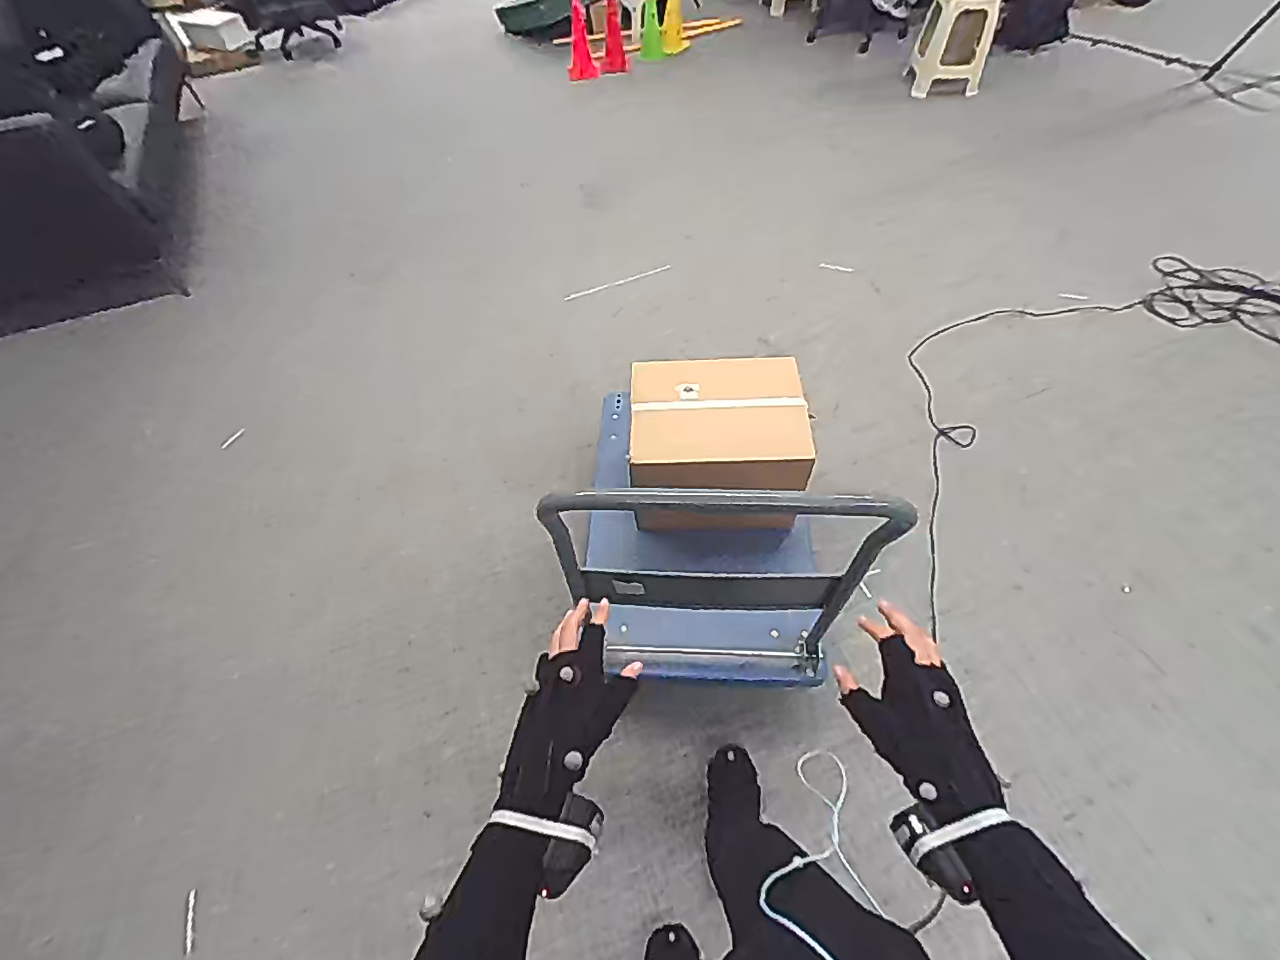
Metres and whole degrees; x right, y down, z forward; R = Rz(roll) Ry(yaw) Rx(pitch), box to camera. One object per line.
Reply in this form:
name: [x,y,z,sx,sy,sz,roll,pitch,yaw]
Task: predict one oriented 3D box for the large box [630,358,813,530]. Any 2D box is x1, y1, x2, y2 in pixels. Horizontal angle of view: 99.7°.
large box: [0.189,-0.082,1.385,0.408,0.320,0.320,-3,55,4]
